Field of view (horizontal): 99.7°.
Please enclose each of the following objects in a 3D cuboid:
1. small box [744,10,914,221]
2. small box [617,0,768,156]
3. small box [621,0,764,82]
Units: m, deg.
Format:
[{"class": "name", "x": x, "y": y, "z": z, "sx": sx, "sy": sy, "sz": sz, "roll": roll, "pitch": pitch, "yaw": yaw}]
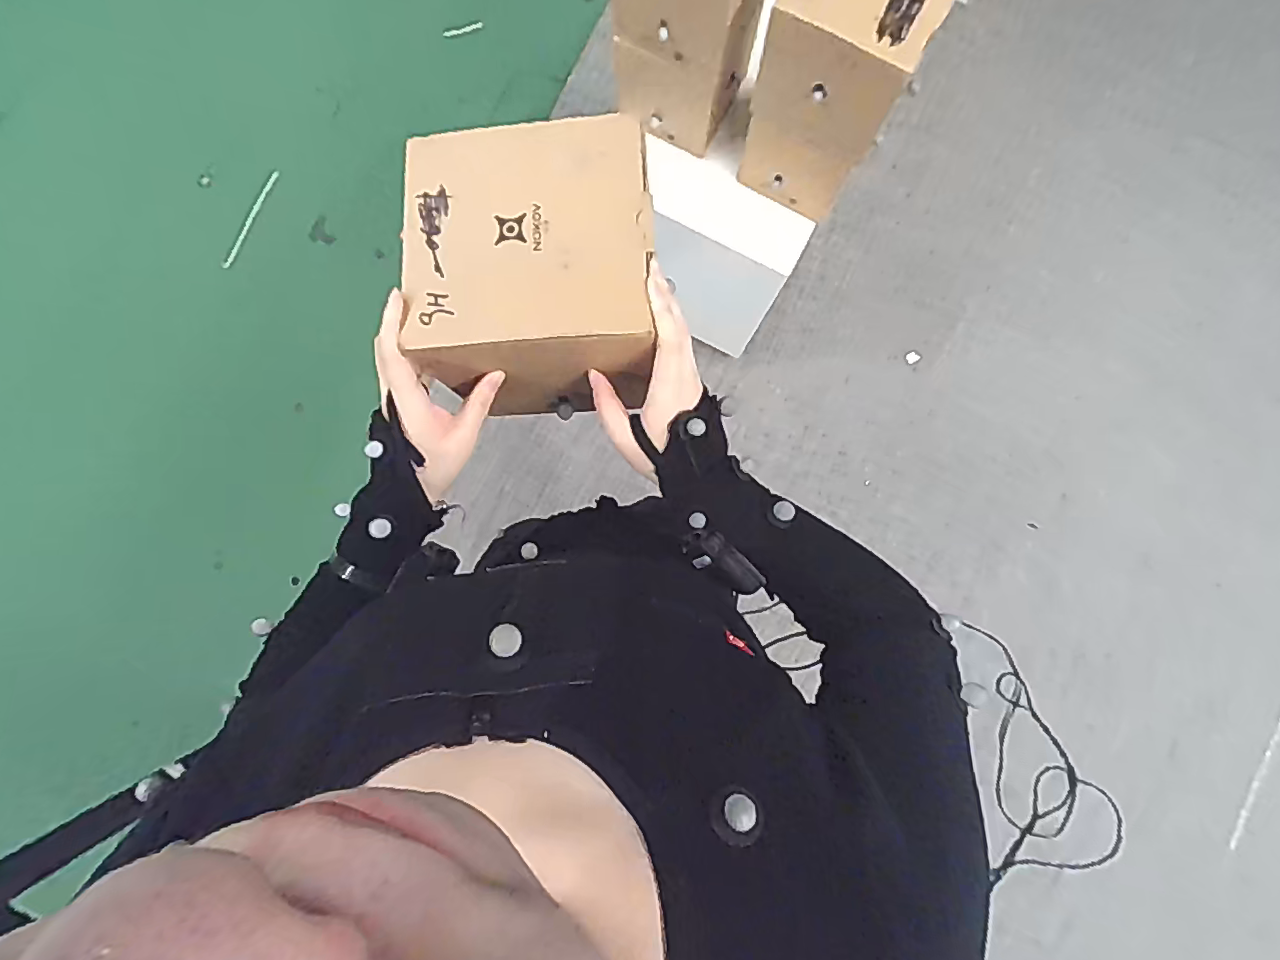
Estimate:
[{"class": "small box", "x": 0.277, "y": -0.551, "z": 0.842, "sx": 0.168, "sy": 0.176, "sz": 0.179, "roll": 29, "pitch": 89, "yaw": 3}, {"class": "small box", "x": 0.075, "y": -0.665, "z": 0.850, "sx": 0.168, "sy": 0.176, "sz": 0.179, "roll": 28, "pitch": 90, "yaw": 1}, {"class": "small box", "x": 0.079, "y": -0.671, "z": 0.685, "sx": 0.168, "sy": 0.176, "sz": 0.179, "roll": 29, "pitch": 89, "yaw": 1}]
